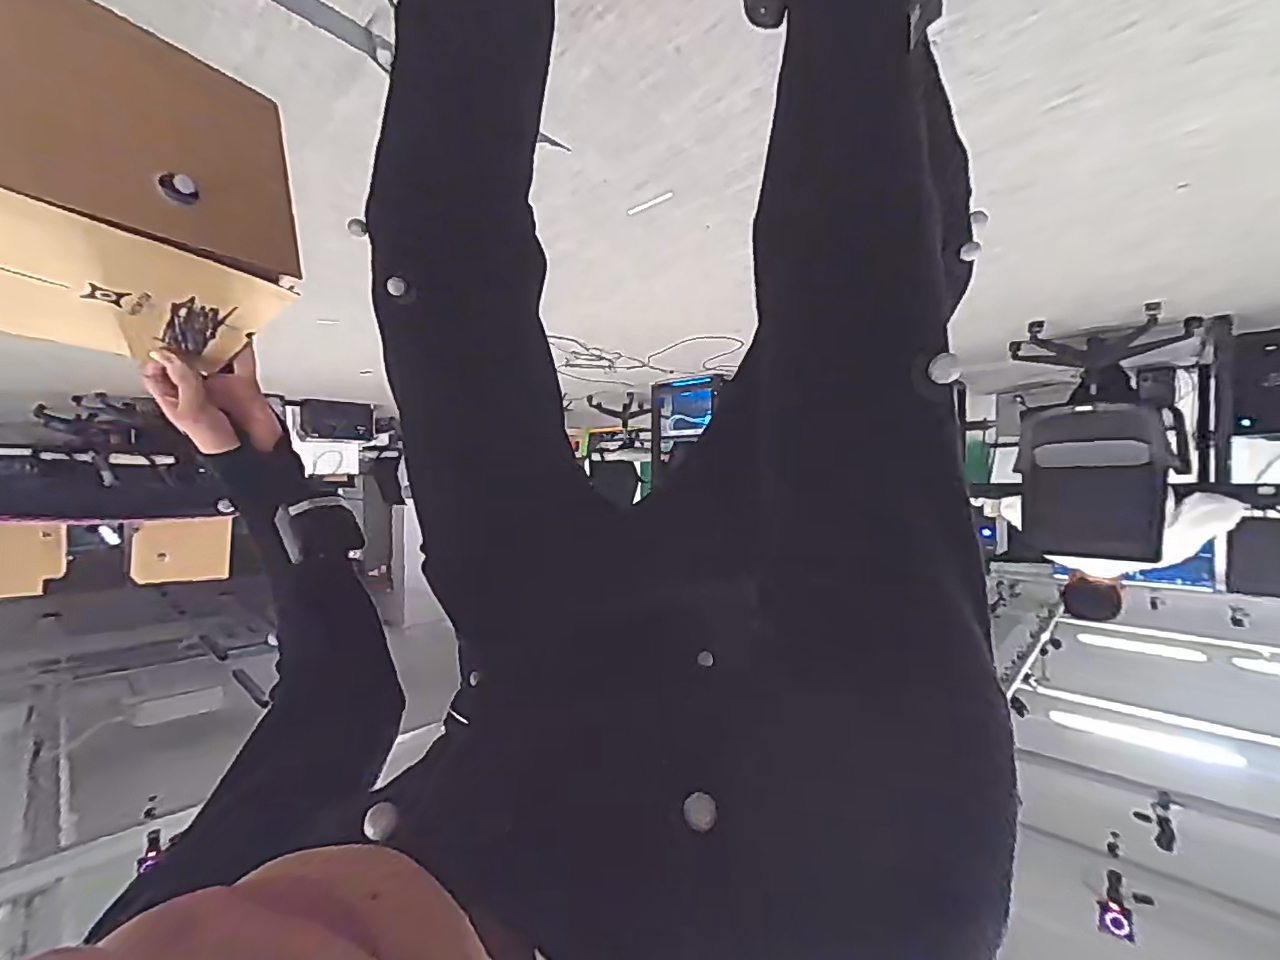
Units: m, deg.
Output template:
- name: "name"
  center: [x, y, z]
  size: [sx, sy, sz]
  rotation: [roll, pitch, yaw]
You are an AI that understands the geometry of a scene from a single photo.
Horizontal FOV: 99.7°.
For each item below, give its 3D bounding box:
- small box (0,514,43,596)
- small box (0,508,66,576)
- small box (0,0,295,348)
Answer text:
- name: "small box"
  center: [-1.415, 0.159, 1.157]
  size: [0.168, 0.176, 0.179]
  rotation: [0, 179, 41]
- name: "small box"
  center: [-1.599, 0.159, 1.387]
  size: [0.168, 0.176, 0.179]
  rotation: [0, 179, -45]
- name: "small box"
  center: [-0.393, -0.222, 0.396]
  size: [0.168, 0.176, 0.179]
  rotation: [-19, 168, 30]
